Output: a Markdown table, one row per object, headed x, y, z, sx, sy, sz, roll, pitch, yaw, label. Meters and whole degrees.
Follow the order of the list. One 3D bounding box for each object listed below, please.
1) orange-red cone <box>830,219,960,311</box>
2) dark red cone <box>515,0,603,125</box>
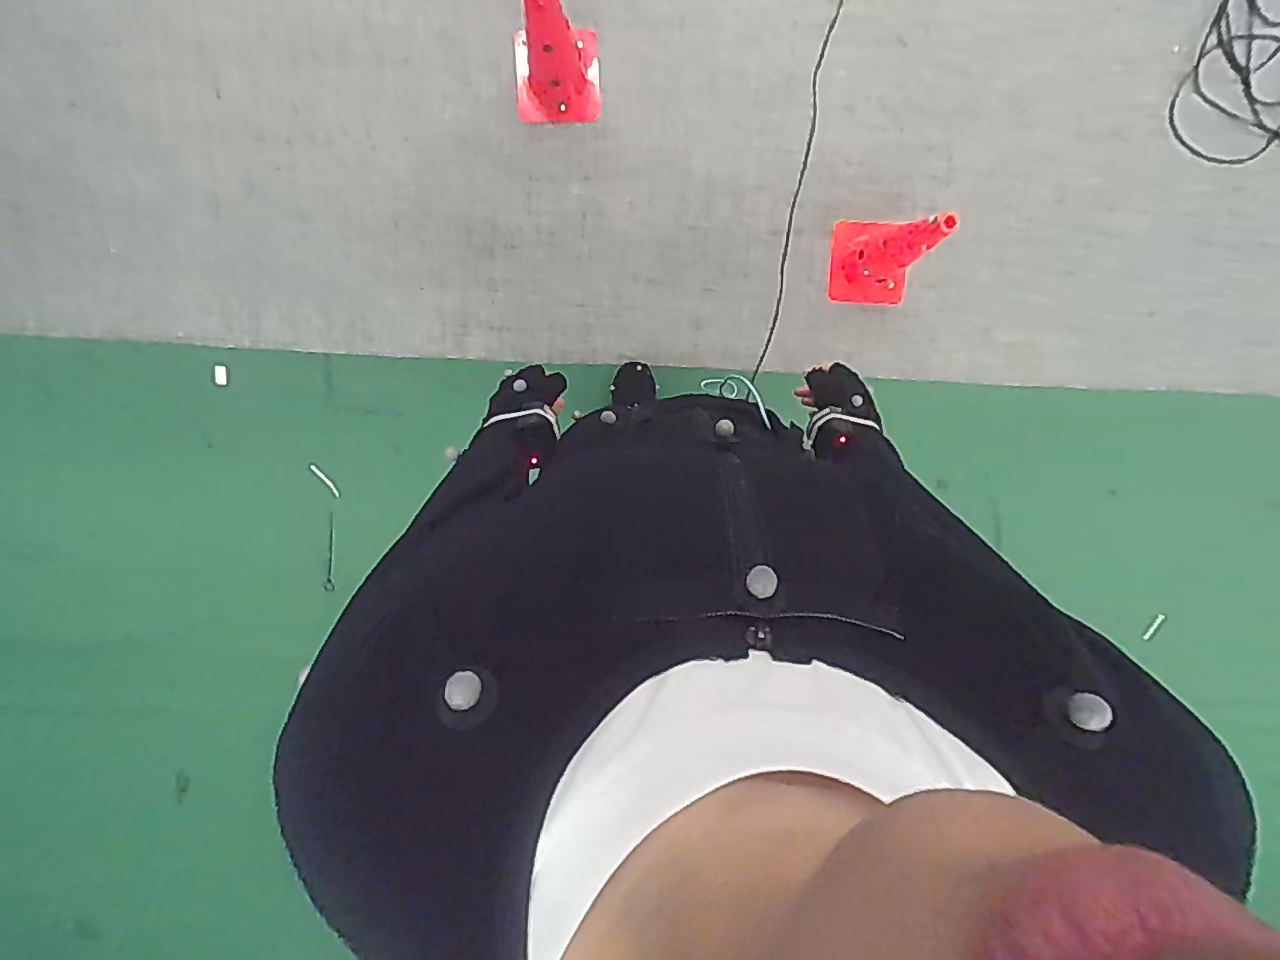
| x | y | z | sx | sy | sz | roll | pitch | yaw | label |
| --- | --- | --- | --- | --- | --- | --- | --- | --- | --- |
| 0.599 | -0.519 | 1.227 | 0.198 | 0.360 | 0.199 | 3 | 98 | -3 | orange-red cone |
| -0.188 | -0.927 | 1.123 | 0.202 | 0.394 | 0.201 | -3 | 100 | -1 | dark red cone |
